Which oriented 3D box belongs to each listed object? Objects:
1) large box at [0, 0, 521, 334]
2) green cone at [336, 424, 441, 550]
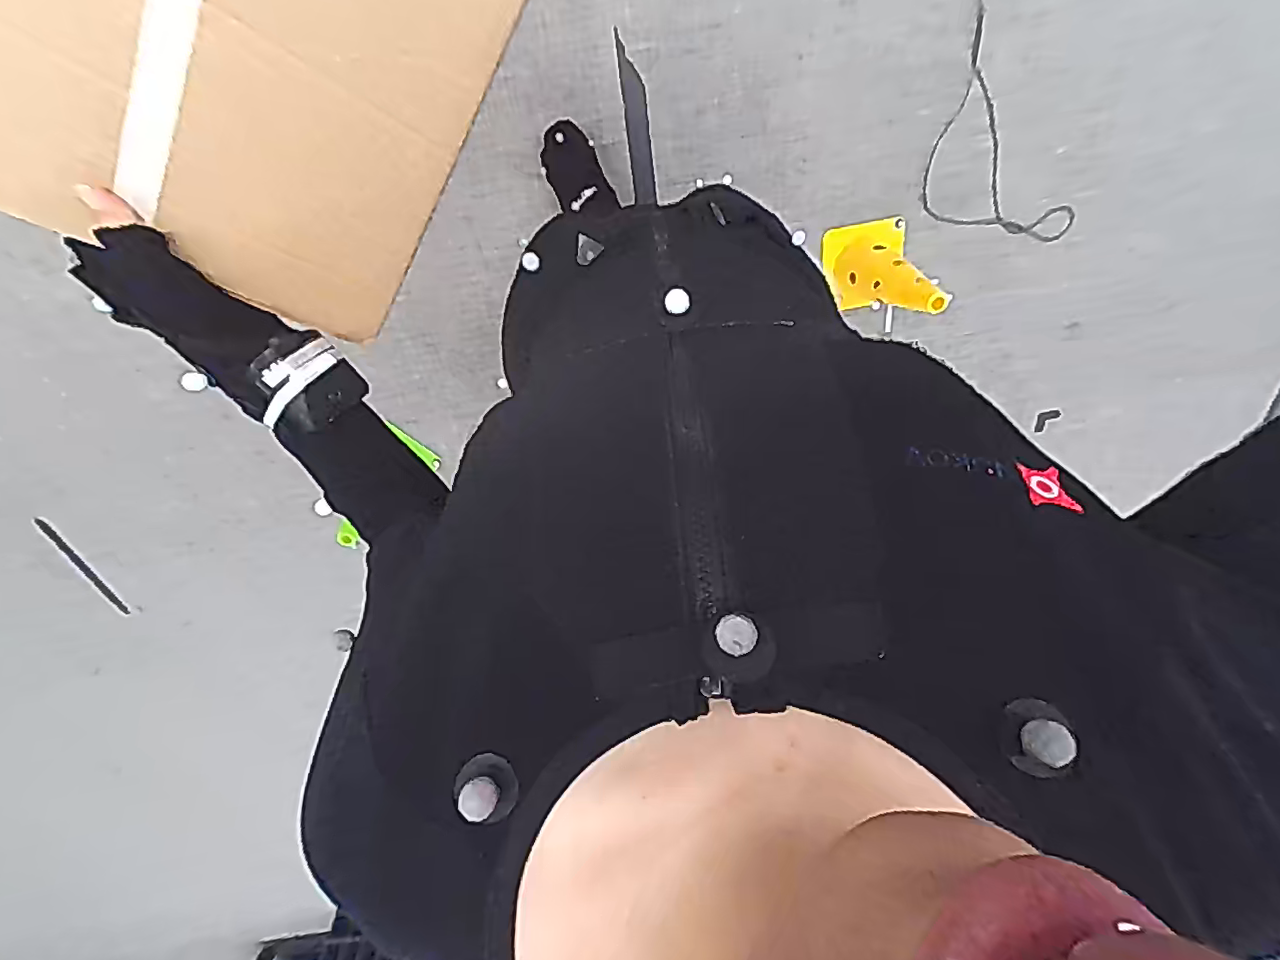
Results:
[{"bbox_3d":[-0.277,-0.397,0.393,0.320,0.320,0.408,20,119,-36],"label":"large box"},{"bbox_3d":[-0.689,0.046,1.393,0.200,0.368,0.202,38,113,-24],"label":"green cone"}]
